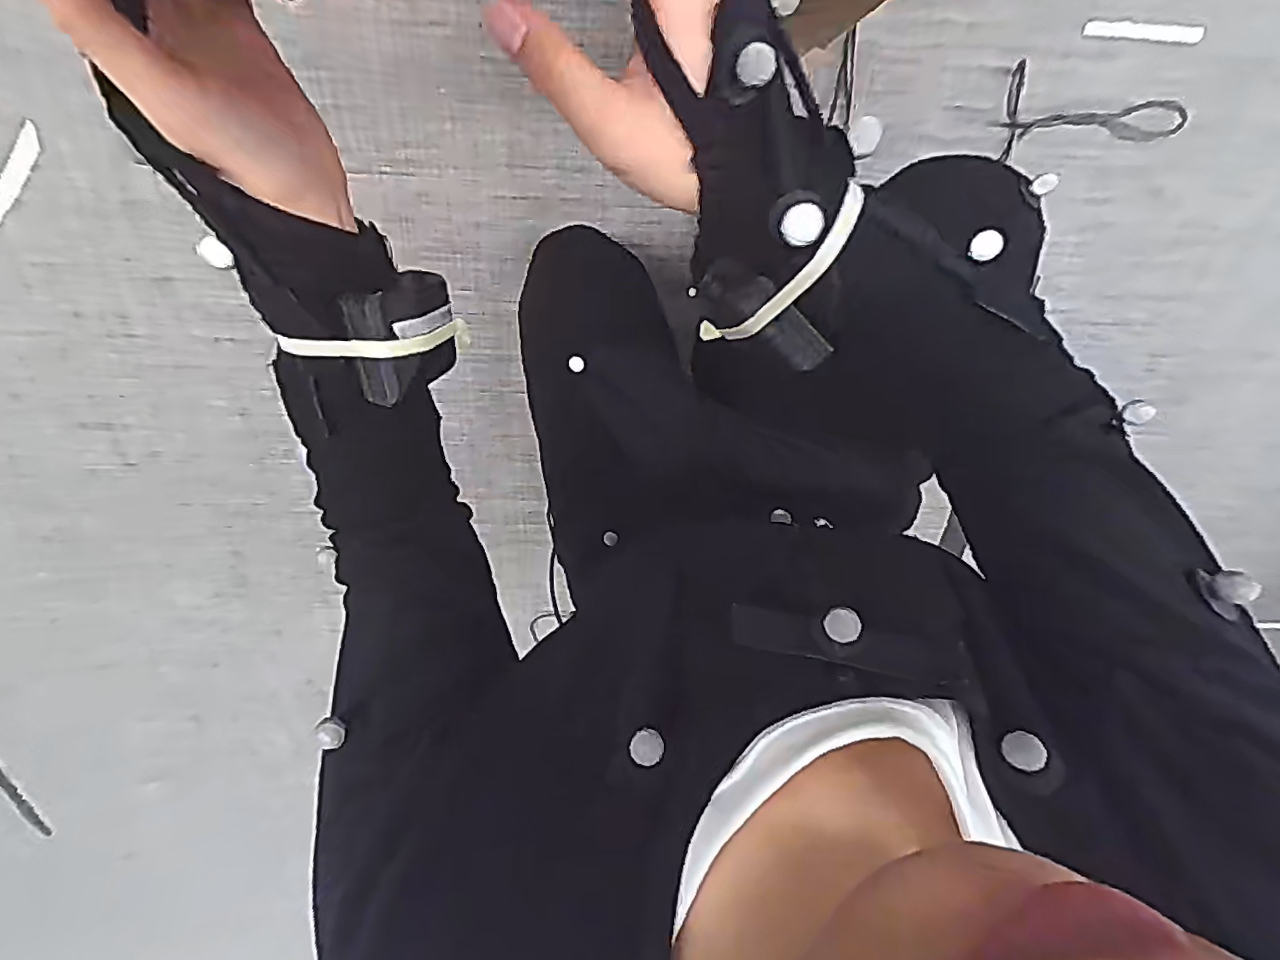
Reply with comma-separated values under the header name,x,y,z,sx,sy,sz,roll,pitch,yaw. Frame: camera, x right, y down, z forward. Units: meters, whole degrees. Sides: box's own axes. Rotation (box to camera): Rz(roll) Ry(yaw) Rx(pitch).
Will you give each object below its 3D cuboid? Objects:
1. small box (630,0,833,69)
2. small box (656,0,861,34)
name,x,y,z,sx,sy,sz,roll,pitch,yaw
small box,0.087,-0.502,0.495,0.179,0.176,0.168,6,116,-5
small box,0.094,-0.424,0.350,0.179,0.176,0.168,7,117,-6
